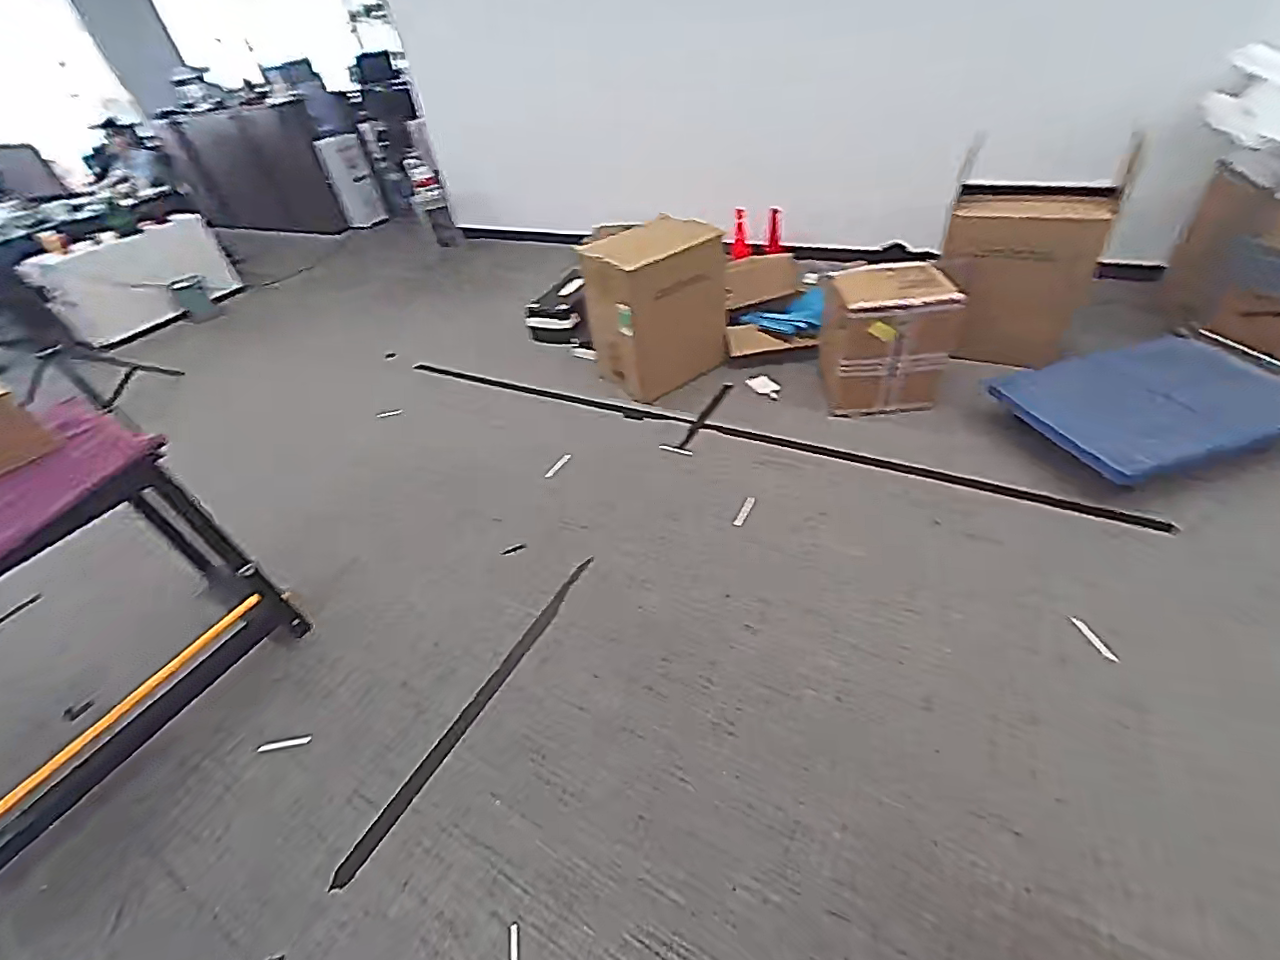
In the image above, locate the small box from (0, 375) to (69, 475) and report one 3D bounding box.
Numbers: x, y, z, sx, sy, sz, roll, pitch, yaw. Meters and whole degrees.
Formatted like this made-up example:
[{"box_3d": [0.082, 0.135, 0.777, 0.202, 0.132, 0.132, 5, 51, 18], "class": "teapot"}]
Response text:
[{"box_3d": [-1.581, -0.129, 1.325, 0.168, 0.176, 0.179, 22, 49, 29], "class": "small box"}]
